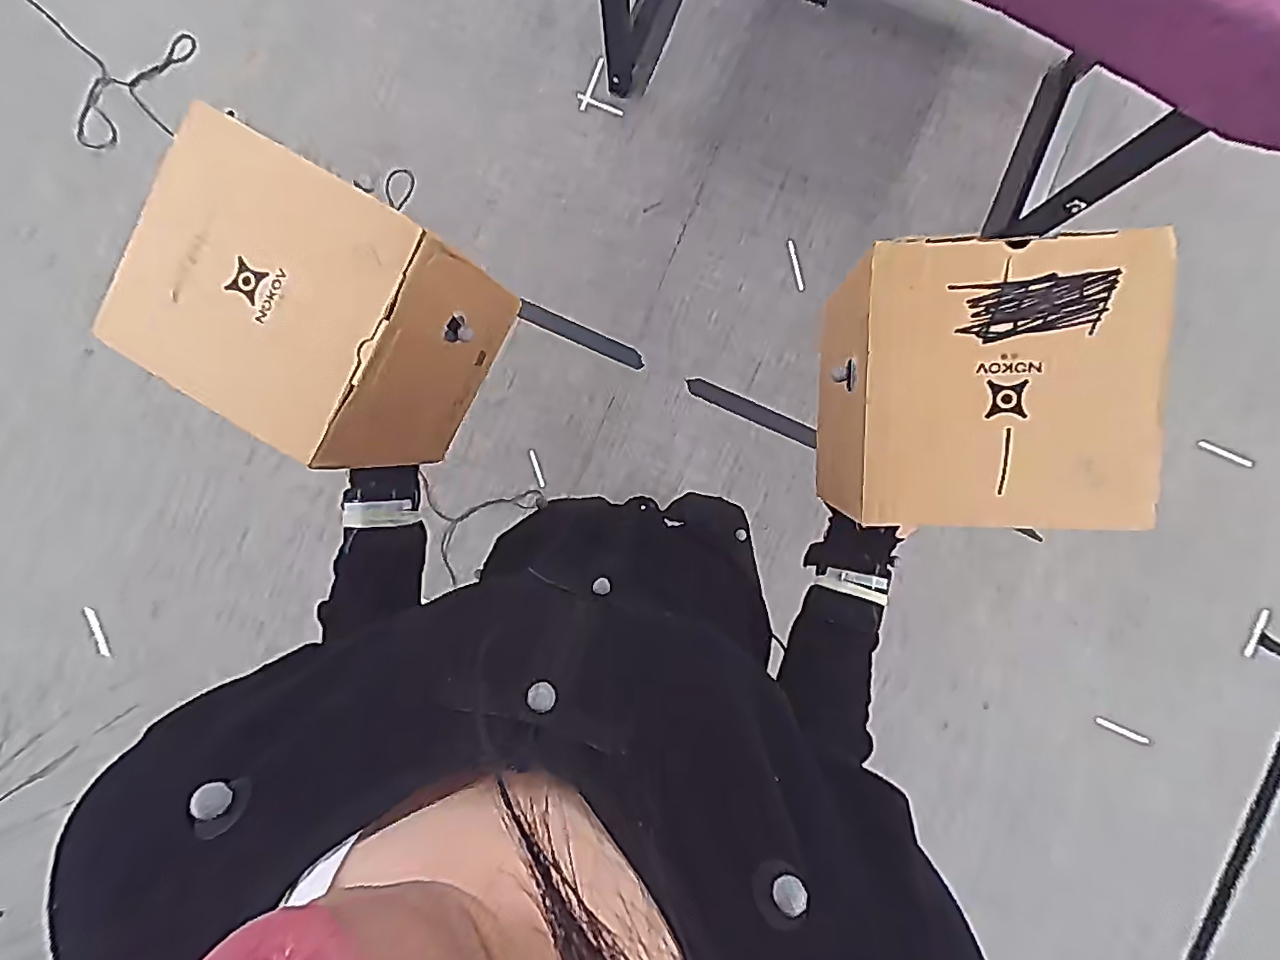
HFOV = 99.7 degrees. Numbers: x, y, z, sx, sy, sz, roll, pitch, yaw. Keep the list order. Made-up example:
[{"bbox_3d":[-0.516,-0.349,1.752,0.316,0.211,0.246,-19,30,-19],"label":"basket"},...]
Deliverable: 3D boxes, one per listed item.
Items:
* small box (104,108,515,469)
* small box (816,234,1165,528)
[{"bbox_3d":[-0.224,-0.123,0.414,0.179,0.176,0.168,30,95,5],"label":"small box"},{"bbox_3d":[0.233,-0.065,0.409,0.168,0.176,0.179,1,95,8],"label":"small box"}]
